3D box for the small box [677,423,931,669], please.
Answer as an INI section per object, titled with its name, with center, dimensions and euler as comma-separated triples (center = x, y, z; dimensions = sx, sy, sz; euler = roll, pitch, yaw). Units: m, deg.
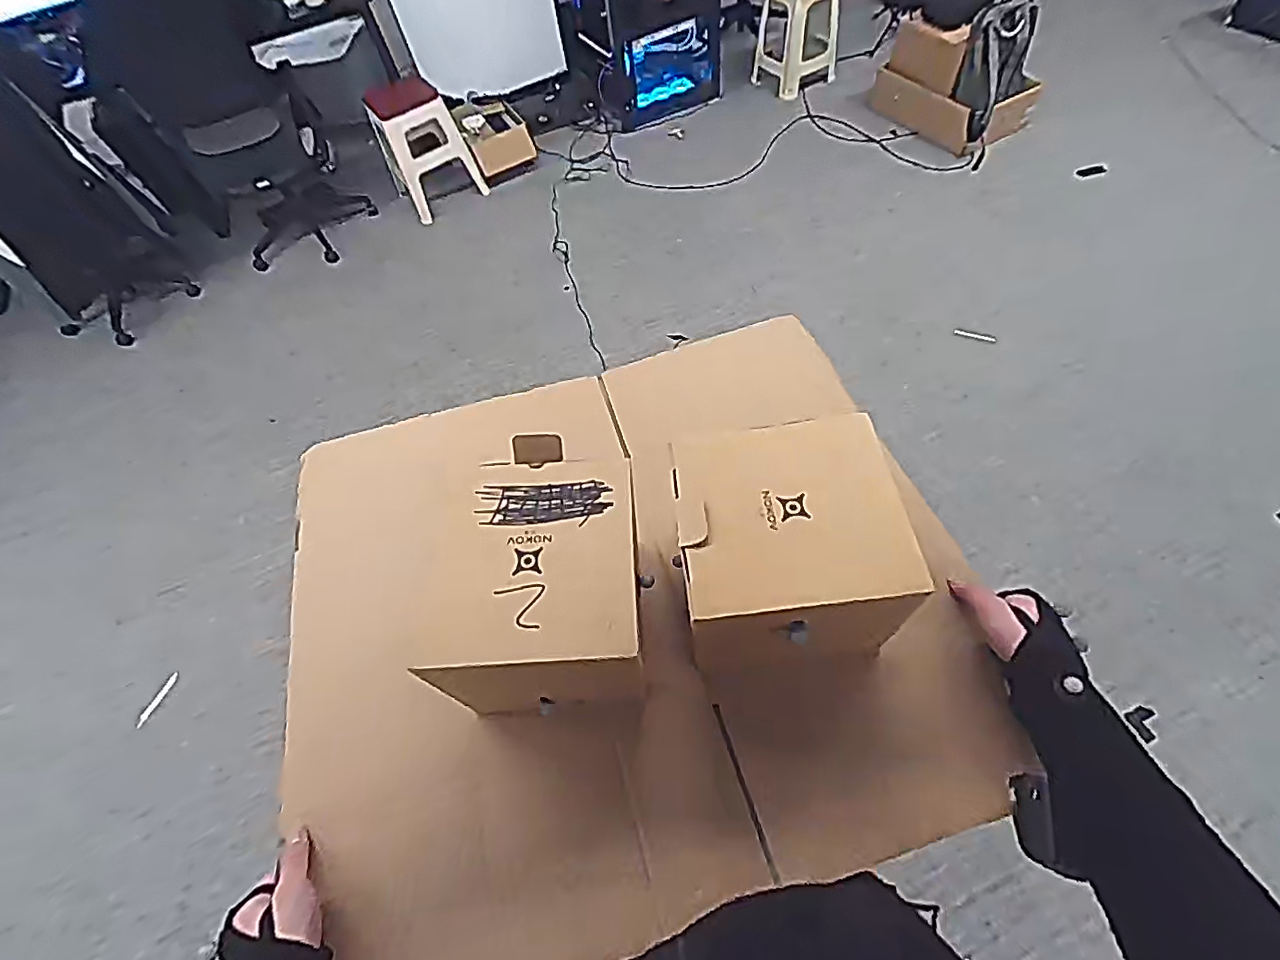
[small box]
center = 0.134, 0.071, 0.511
dimensions = 0.179, 0.176, 0.168
euler = -9, 58, 5
